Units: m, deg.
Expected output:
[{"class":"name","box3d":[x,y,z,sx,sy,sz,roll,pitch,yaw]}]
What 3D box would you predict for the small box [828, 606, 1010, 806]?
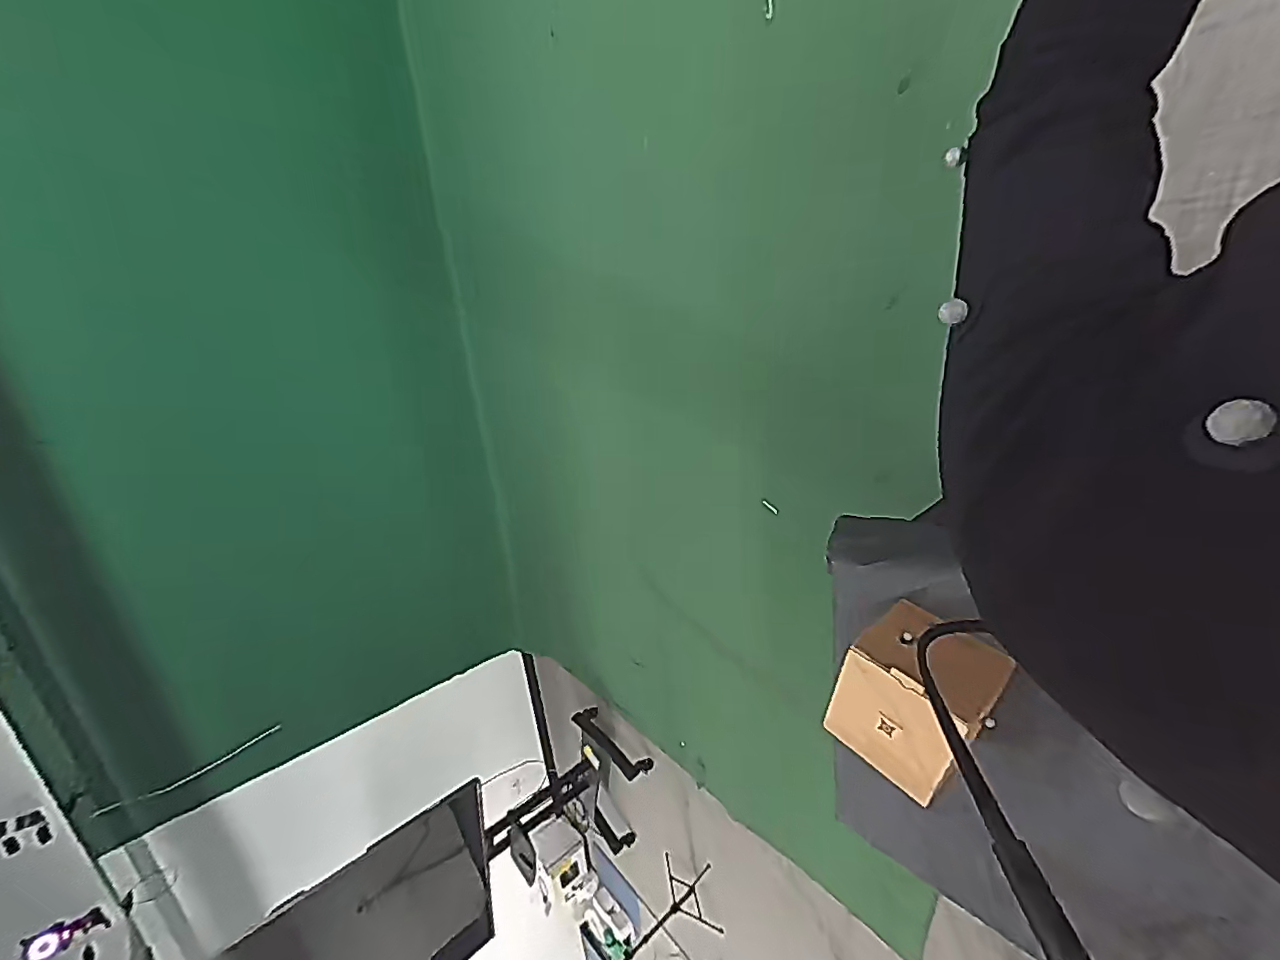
[{"class":"small box","box3d":[0.409,0.318,0.797,0.168,0.176,0.179,31,132,42]}]
